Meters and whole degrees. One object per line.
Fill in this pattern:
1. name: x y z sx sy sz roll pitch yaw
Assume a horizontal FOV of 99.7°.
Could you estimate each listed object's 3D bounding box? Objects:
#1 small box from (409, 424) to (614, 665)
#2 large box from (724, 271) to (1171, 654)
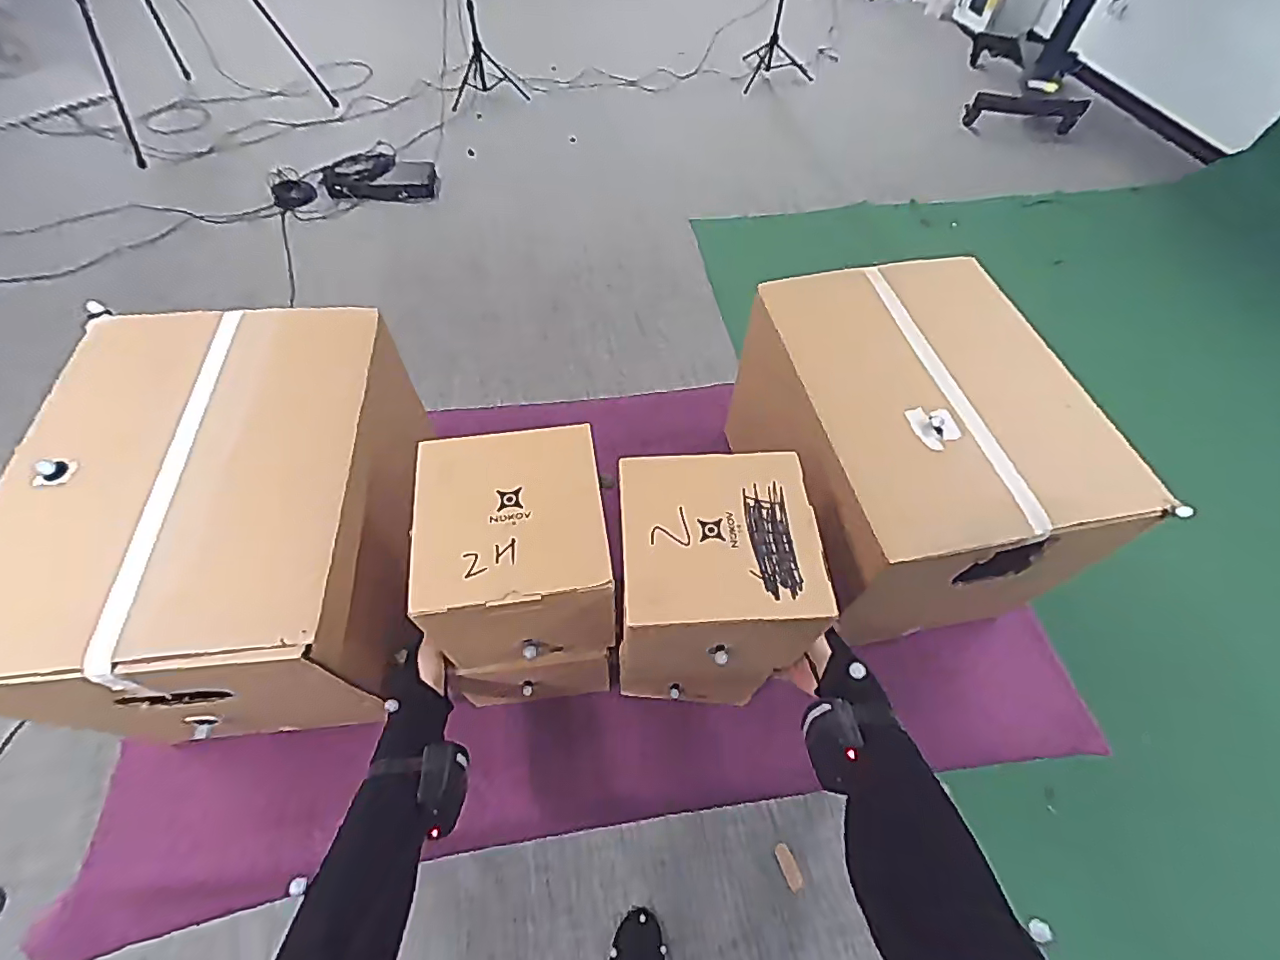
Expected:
1. small box: -0.118 0.068 0.548 0.168 0.176 0.179 -7 57 -6
2. large box: 0.336 -0.023 0.745 0.320 0.320 0.408 -9 58 -6
